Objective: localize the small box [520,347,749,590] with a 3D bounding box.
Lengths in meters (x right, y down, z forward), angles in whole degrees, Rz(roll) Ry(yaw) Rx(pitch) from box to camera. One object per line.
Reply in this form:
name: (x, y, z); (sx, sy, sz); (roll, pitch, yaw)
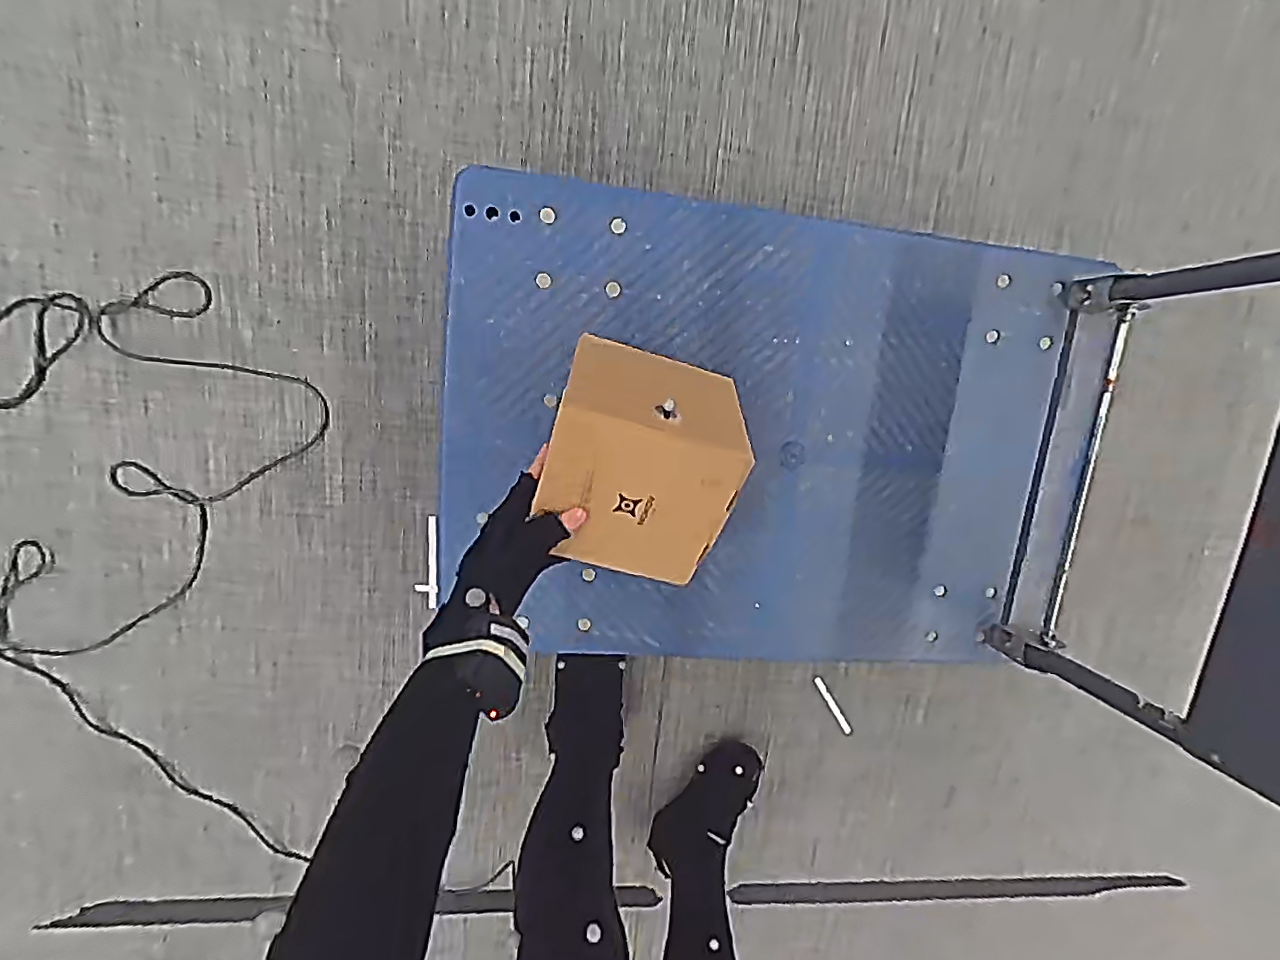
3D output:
small box: (-0.009, -0.017, 0.567); (0.179, 0.176, 0.168); (17, 124, -10)
